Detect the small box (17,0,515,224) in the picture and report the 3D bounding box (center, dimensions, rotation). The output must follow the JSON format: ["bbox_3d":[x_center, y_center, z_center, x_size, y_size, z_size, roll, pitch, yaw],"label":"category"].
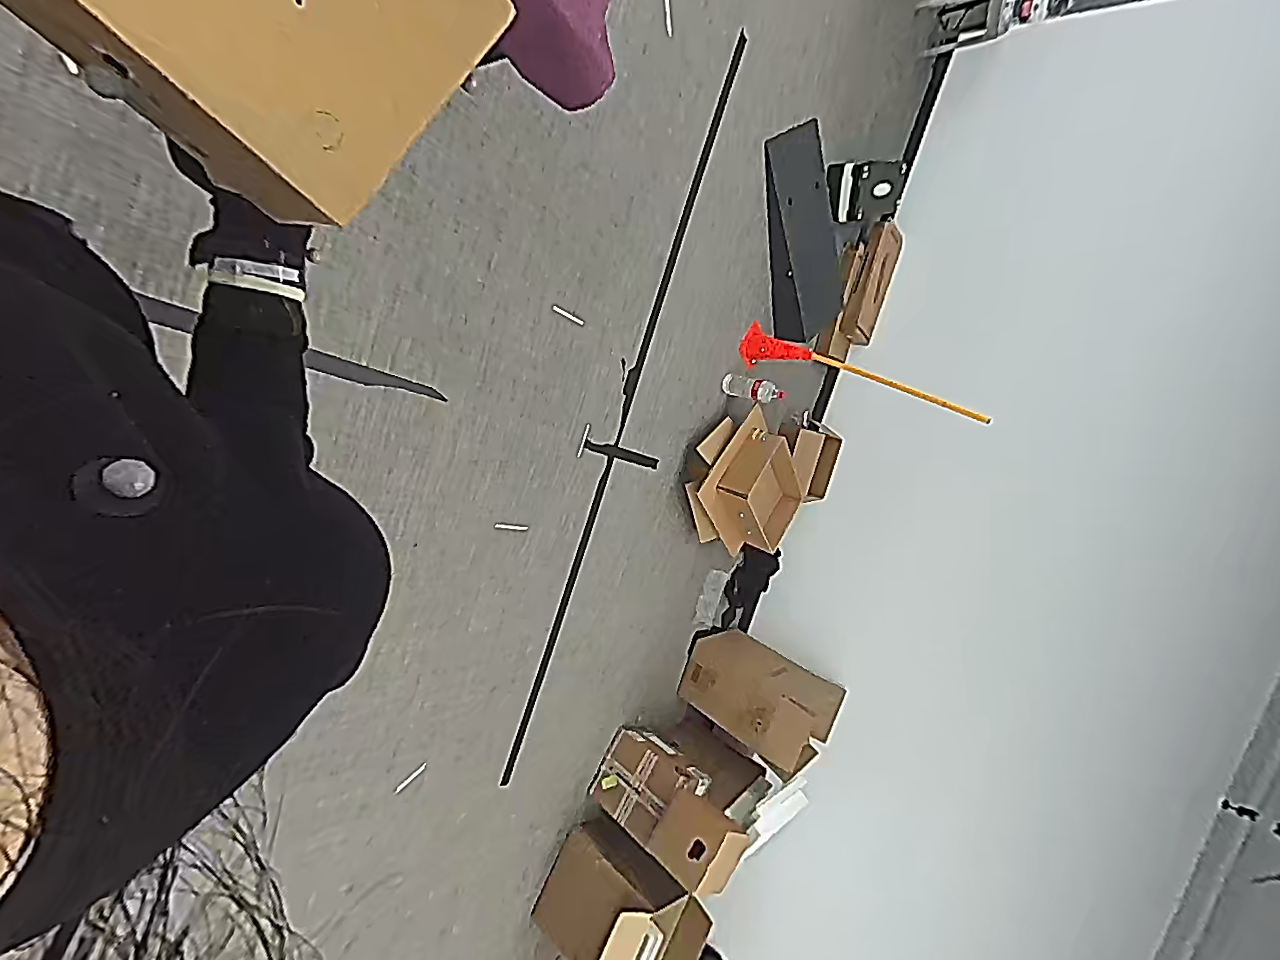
[{"bbox_3d":[-0.215,-0.275,0.315,0.168,0.176,0.179,39,79,-47],"label":"small box"}]
